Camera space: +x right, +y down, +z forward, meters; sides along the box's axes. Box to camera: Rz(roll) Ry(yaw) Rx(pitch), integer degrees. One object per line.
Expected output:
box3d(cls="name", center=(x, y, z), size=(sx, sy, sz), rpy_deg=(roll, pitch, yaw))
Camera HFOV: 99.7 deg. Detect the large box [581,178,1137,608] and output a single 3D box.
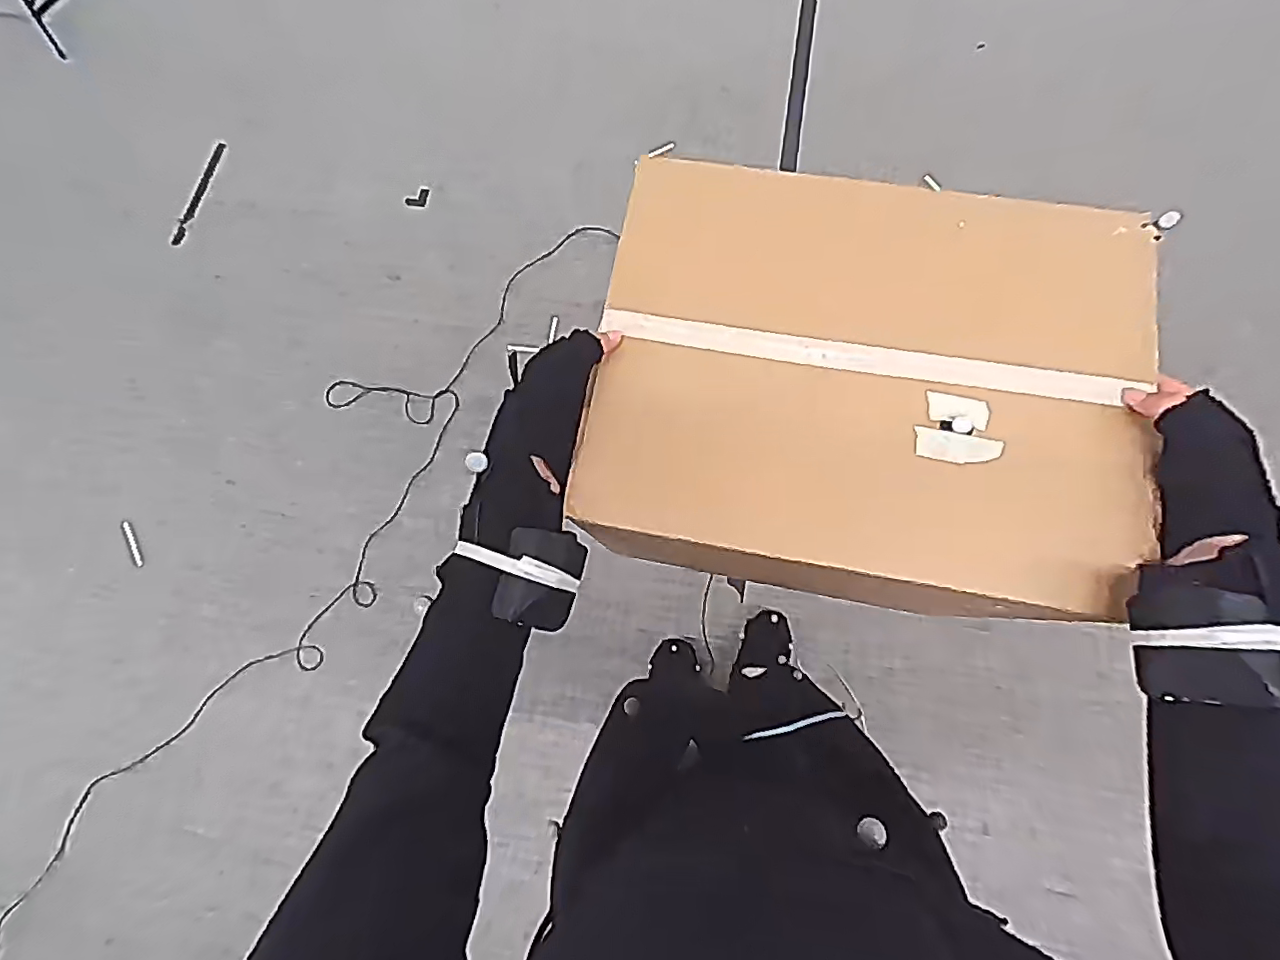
box3d(cls="large box", center=(0.178, -0.054, 0.565), size=(0.408, 0.320, 0.320), rpy_deg=(10, 79, 5))
